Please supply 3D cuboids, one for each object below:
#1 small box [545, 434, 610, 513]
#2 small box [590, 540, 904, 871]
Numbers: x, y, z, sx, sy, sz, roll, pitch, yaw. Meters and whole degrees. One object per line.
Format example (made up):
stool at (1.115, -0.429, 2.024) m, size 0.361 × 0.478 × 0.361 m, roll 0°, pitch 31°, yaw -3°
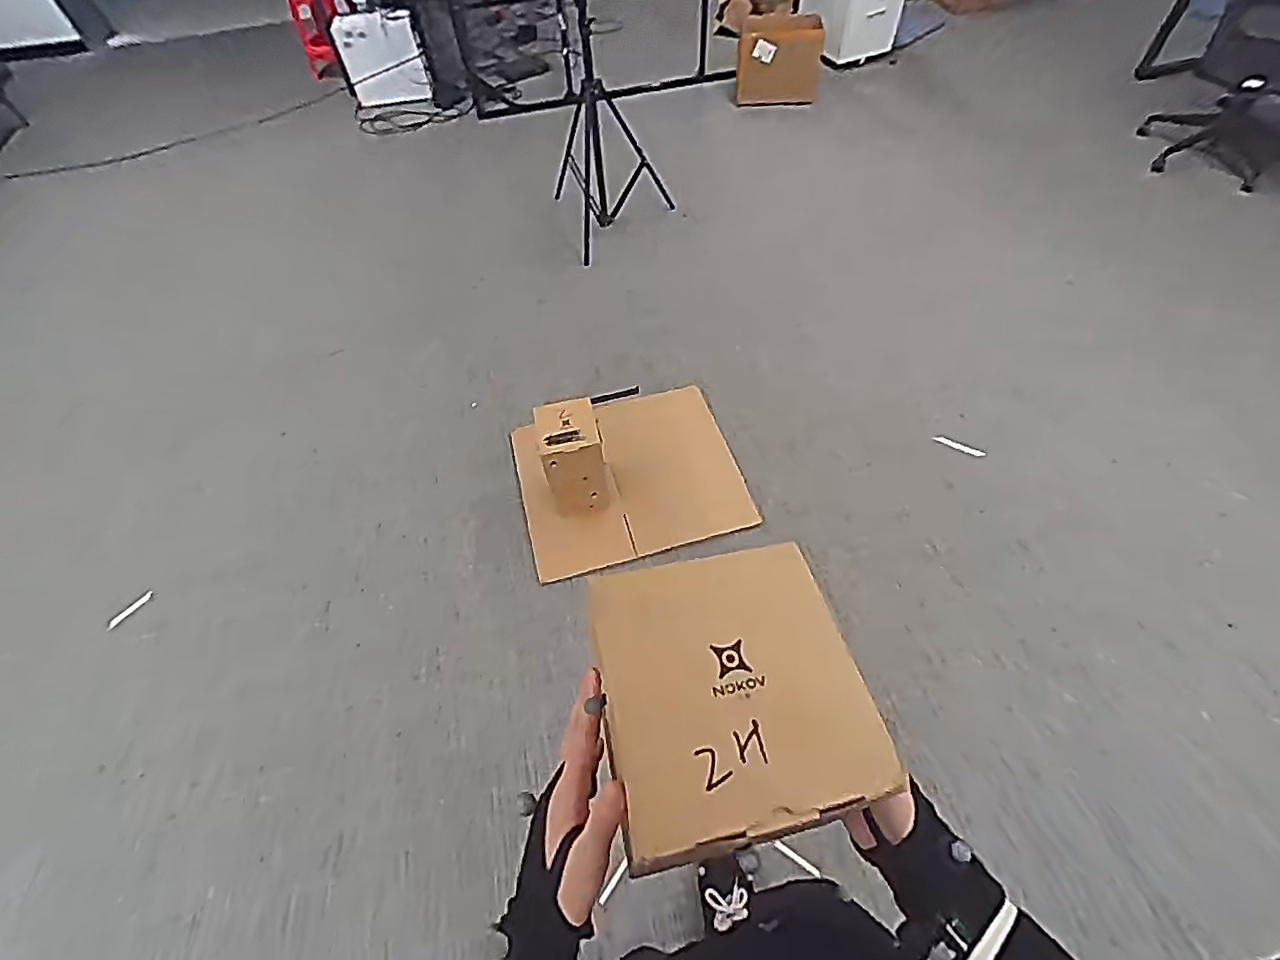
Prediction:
small box at (-0.191, -0.012, 1.677) m, size 0.168 × 0.176 × 0.179 m, roll -10°, pitch 56°, yaw -5°
small box at (0.055, 0.173, 0.418) m, size 0.168 × 0.176 × 0.179 m, roll -9°, pitch 53°, yaw -10°
